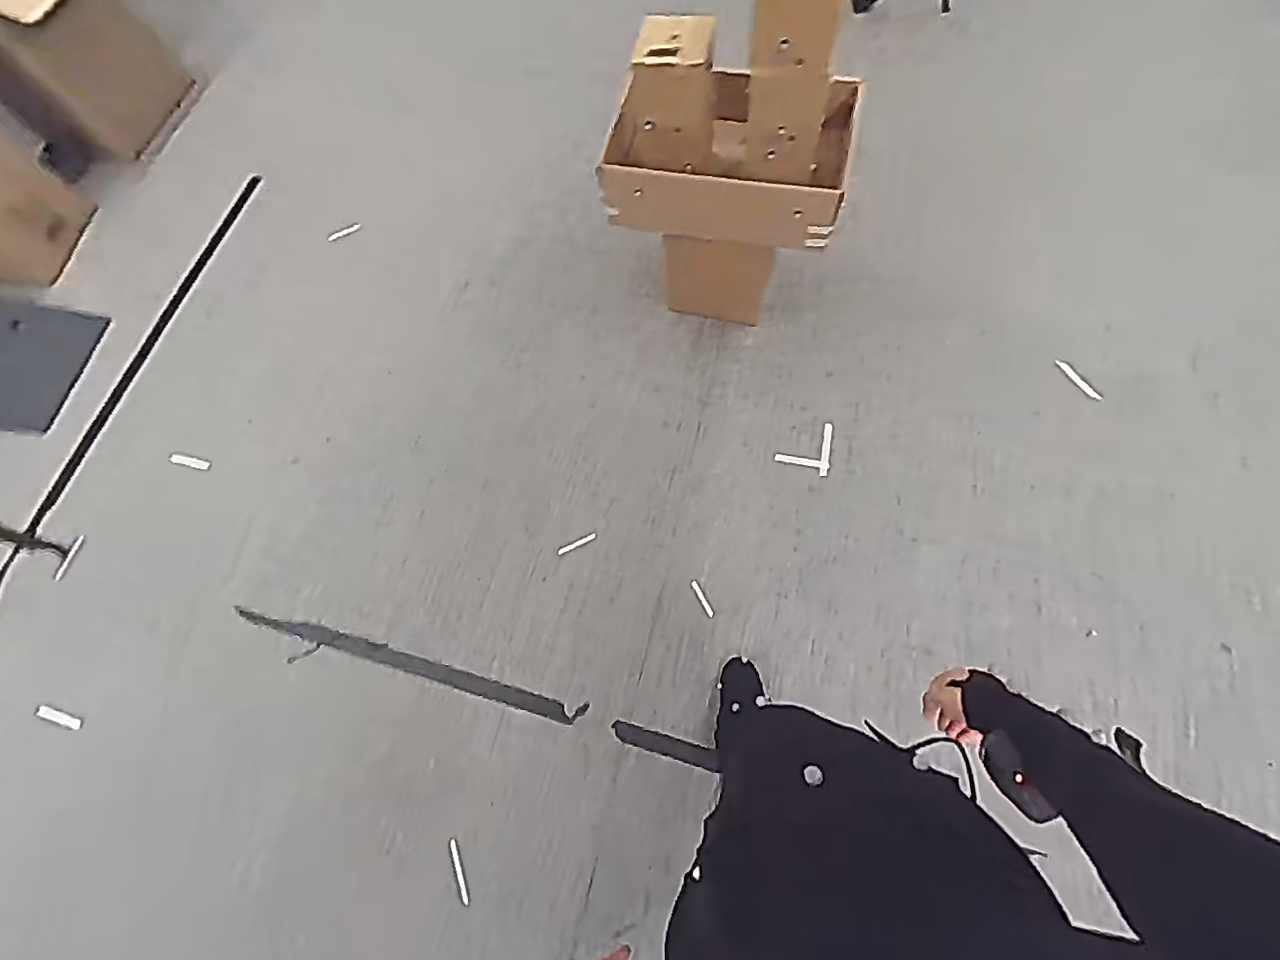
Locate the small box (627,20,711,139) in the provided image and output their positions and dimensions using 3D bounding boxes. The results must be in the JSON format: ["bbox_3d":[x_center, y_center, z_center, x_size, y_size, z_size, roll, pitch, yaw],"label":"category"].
[{"bbox_3d":[0.074,-0.942,1.280,0.168,0.176,0.179,8,69,9],"label":"small box"}]

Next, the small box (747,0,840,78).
[{"bbox_3d":[0.313,-0.954,1.082,0.168,0.176,0.179,10,72,10],"label":"small box"}]
